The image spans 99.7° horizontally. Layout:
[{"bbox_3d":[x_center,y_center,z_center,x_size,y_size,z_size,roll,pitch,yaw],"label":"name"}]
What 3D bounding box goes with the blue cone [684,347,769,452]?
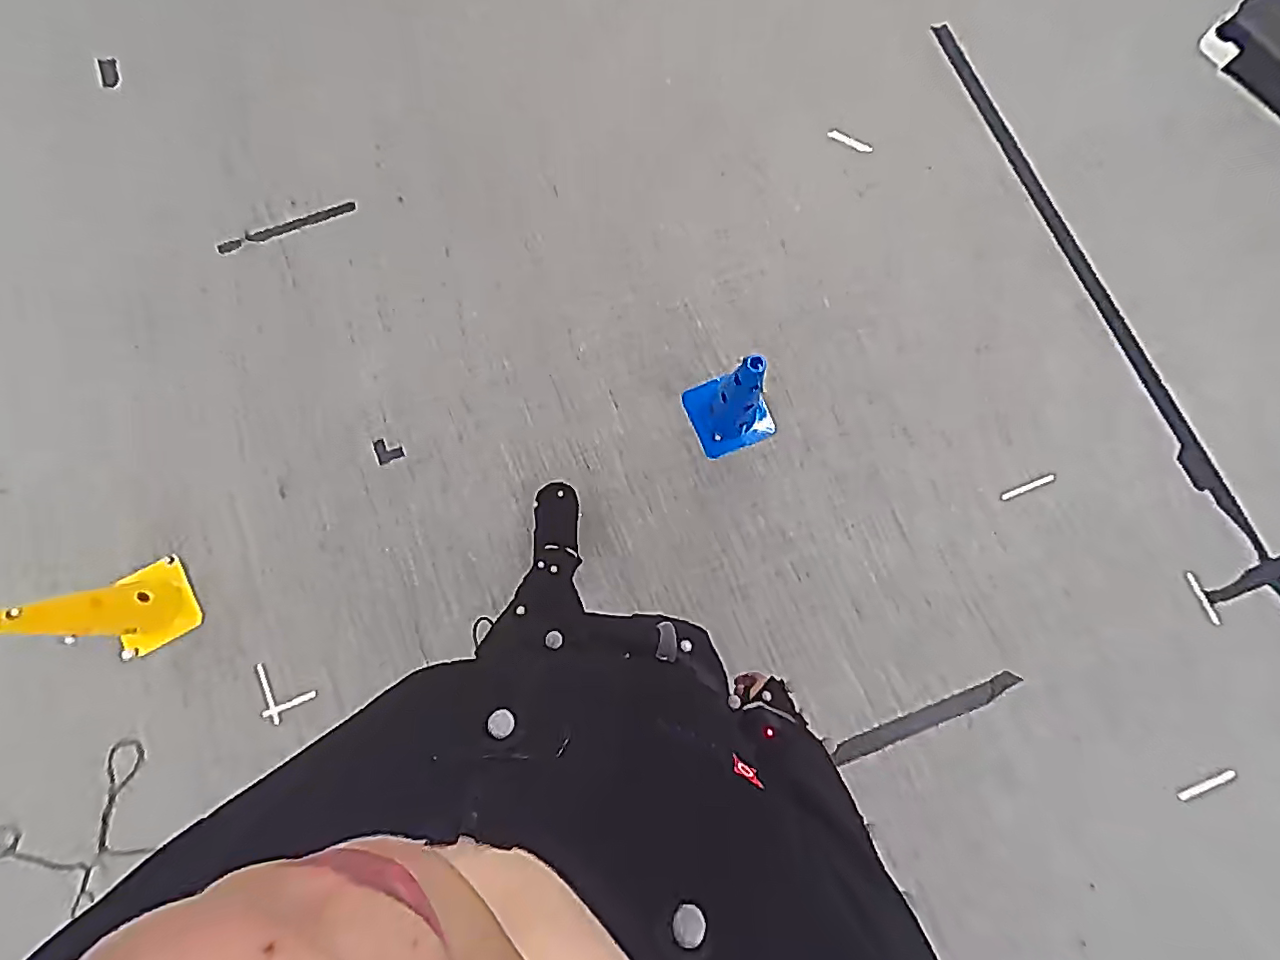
[{"bbox_3d":[0.226,-0.208,1.255,0.193,0.380,0.192,-21,81,-3],"label":"blue cone"}]
